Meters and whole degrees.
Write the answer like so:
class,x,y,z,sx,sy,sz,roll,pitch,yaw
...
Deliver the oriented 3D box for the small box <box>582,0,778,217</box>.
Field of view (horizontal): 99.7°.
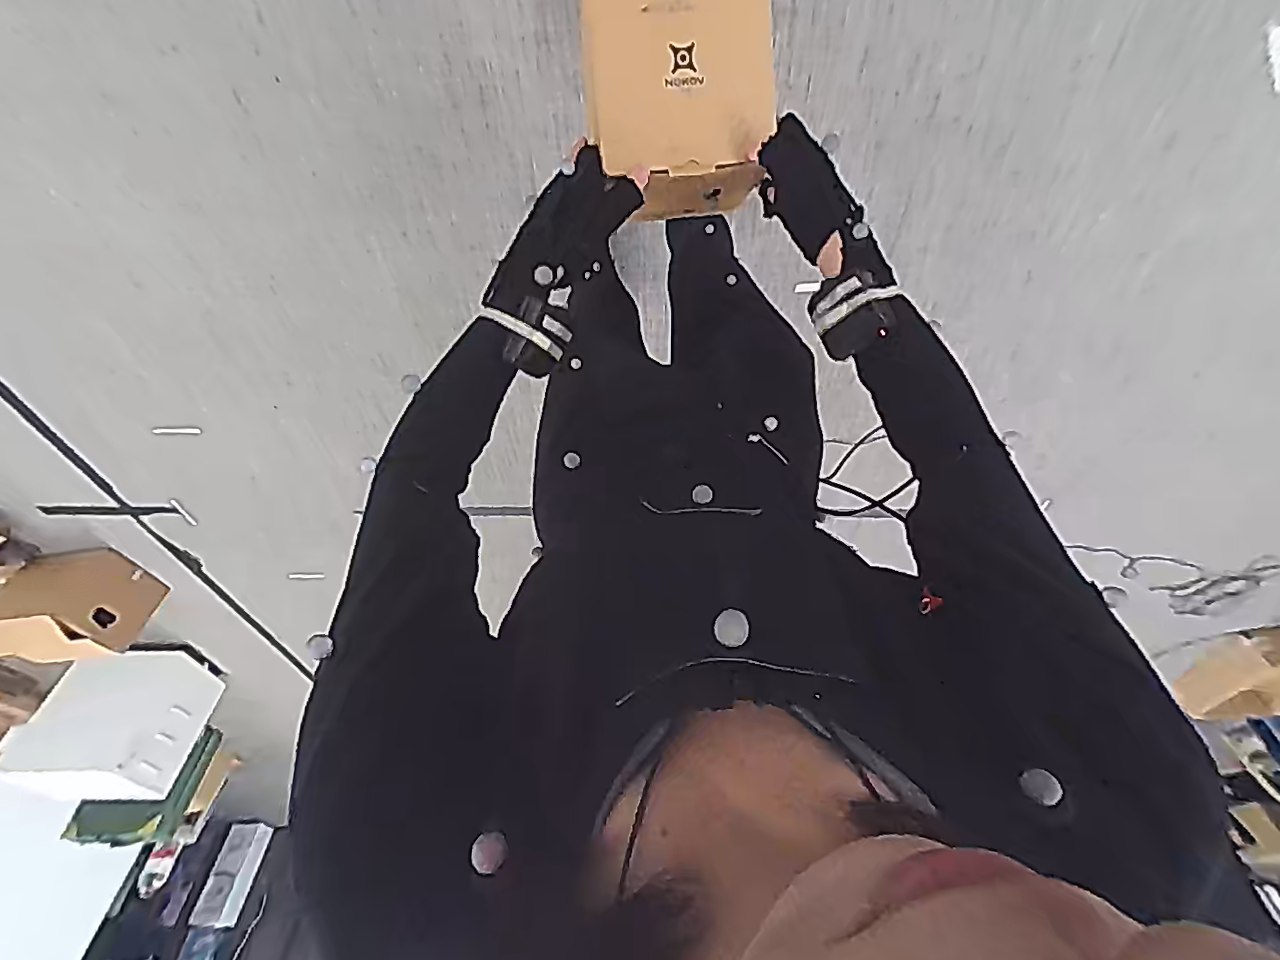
class,x,y,z,sx,sy,sz,roll,pitch,yaw
small box,0.033,-0.387,0.558,0.168,0.176,0.179,-8,101,-4
